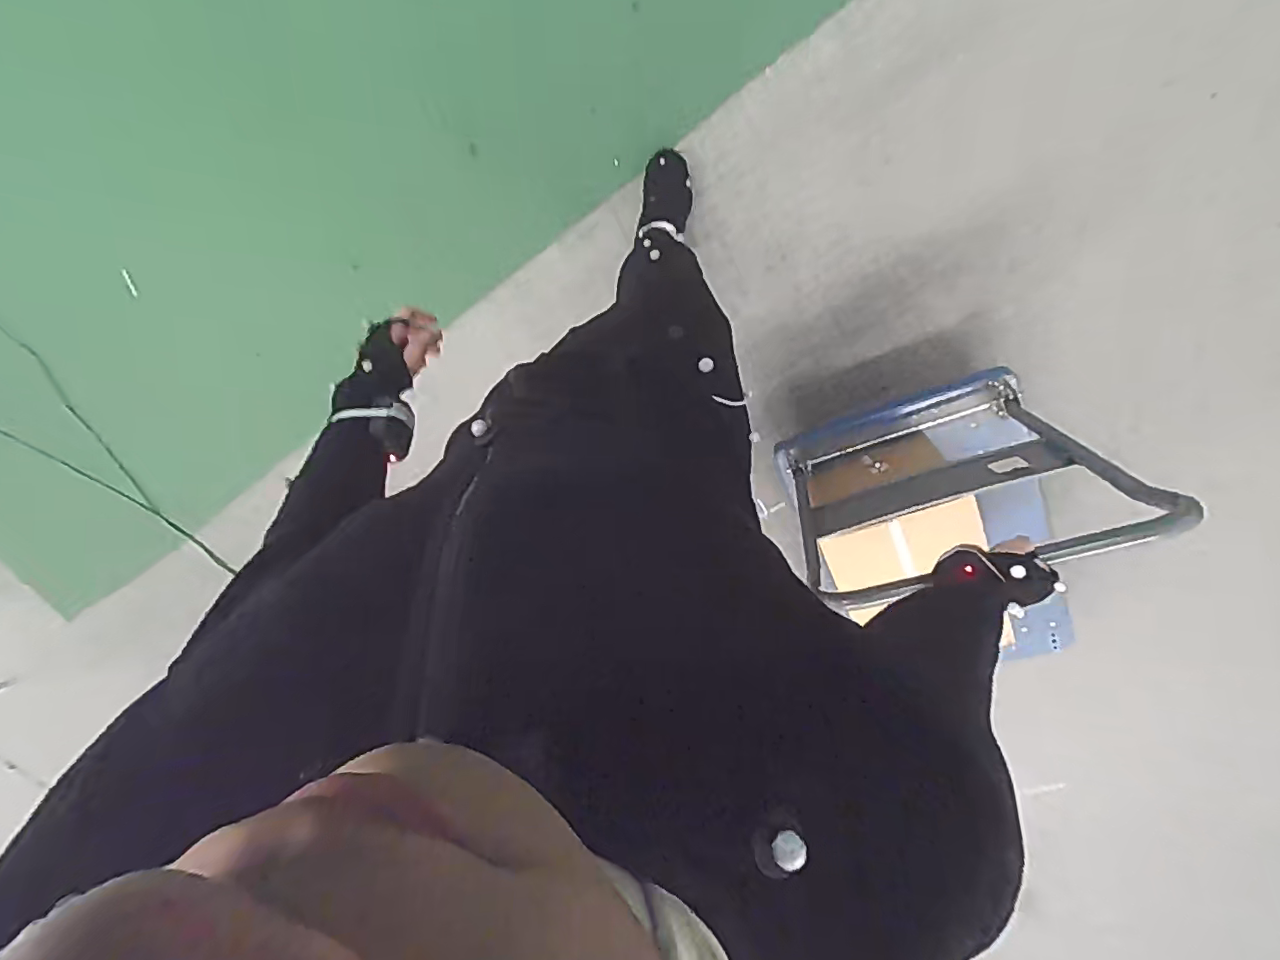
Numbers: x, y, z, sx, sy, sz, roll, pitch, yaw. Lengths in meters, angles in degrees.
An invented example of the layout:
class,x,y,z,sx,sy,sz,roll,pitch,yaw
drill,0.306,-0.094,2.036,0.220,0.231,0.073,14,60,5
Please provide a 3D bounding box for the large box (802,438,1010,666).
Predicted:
class,x,y,z,sx,sy,sz,roll,pitch,yaw
large box,0.626,0.169,1.320,0.320,0.320,0.408,-20,111,19
